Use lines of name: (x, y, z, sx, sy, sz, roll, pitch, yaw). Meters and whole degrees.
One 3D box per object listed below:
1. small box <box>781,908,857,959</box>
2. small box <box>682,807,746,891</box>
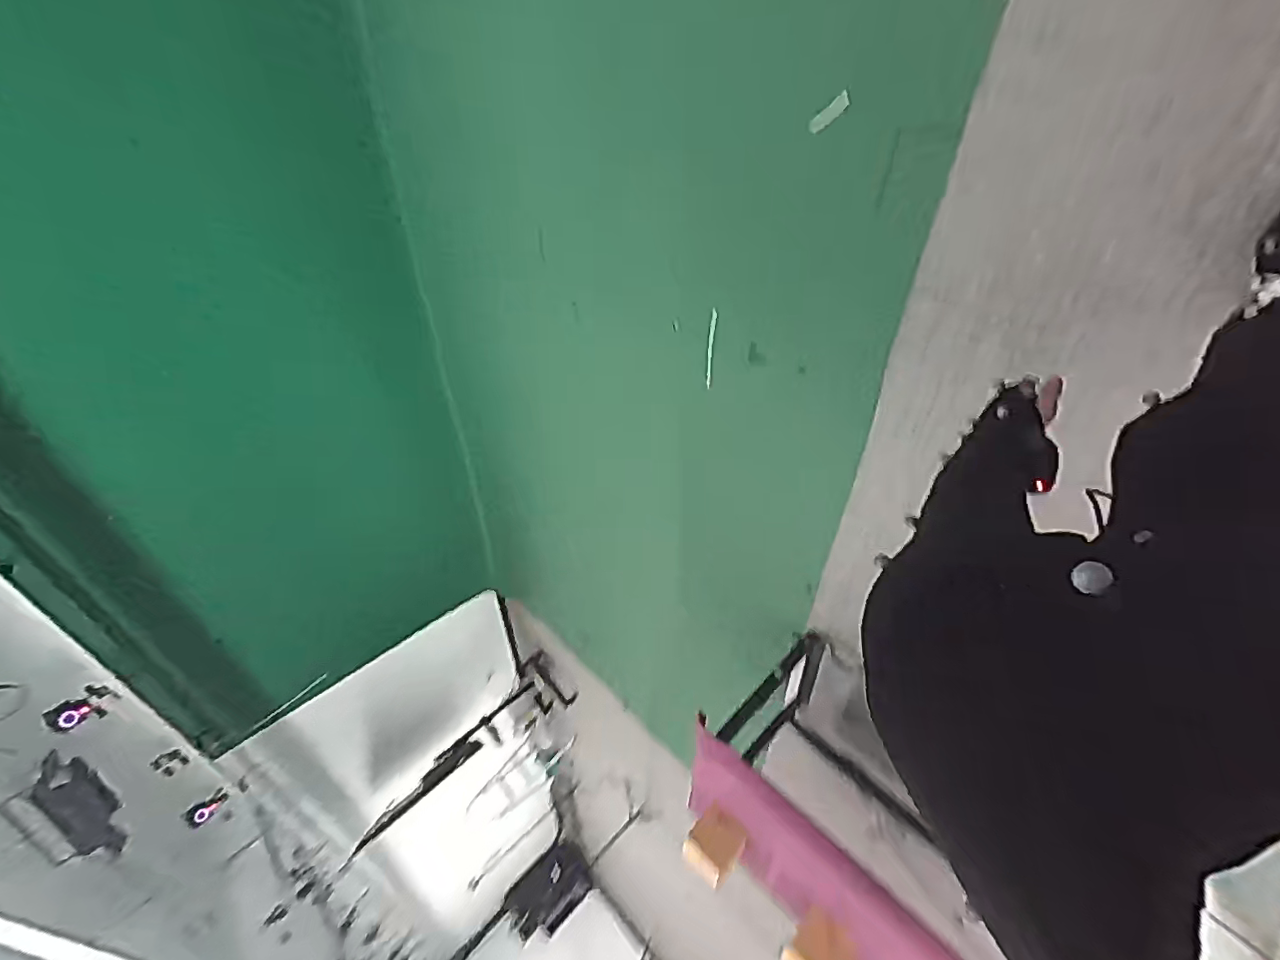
small box: (0.591, 1.575, 1.786, 0.168, 0.176, 0.179, 32, 137, 34)
small box: (0.279, 1.381, 2.030, 0.168, 0.176, 0.179, 32, 138, 33)
